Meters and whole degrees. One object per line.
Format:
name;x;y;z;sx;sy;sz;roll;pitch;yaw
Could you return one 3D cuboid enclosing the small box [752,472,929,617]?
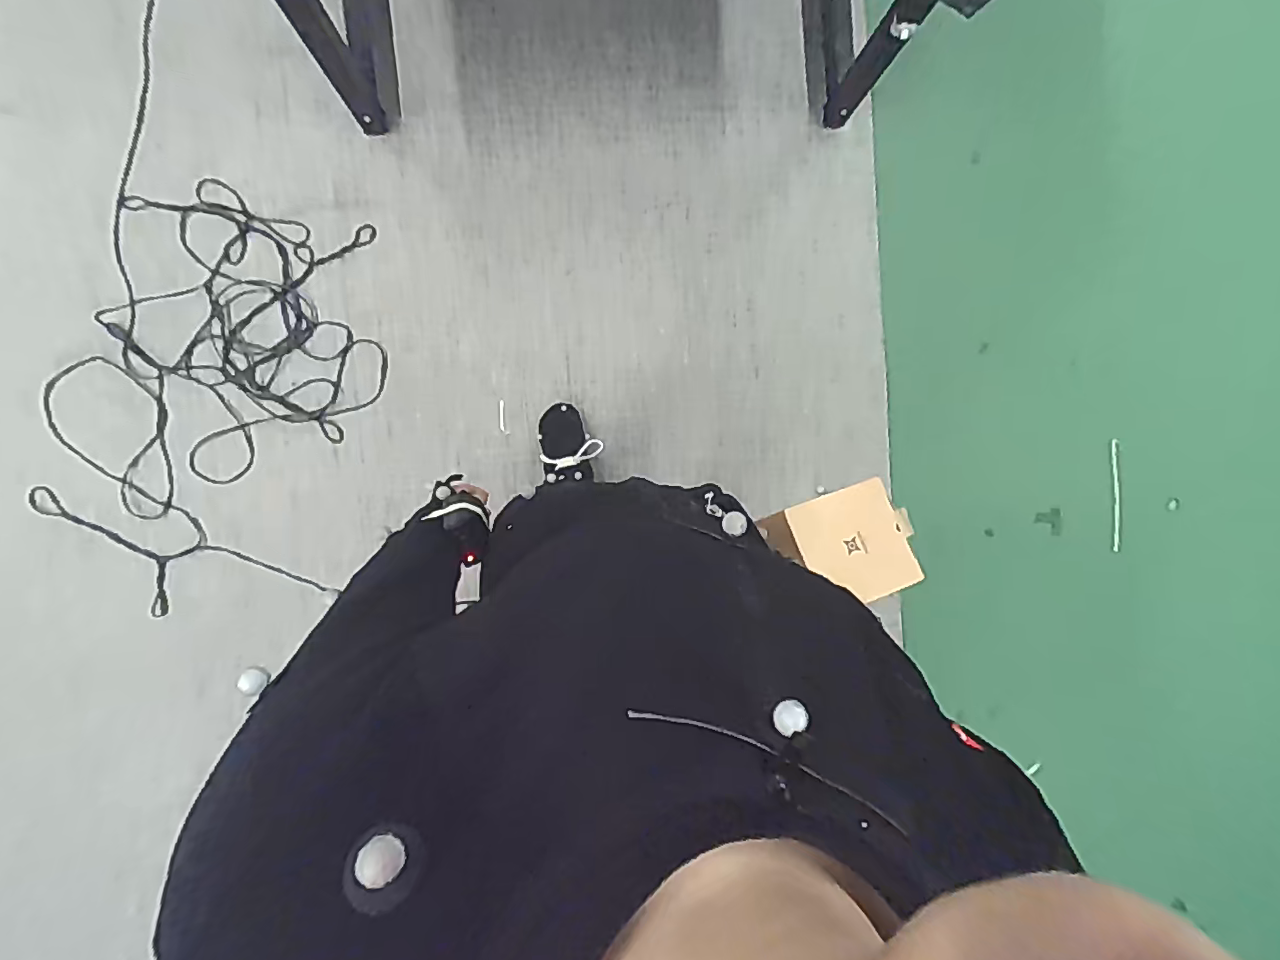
small box;0.294;0.107;0.842;0.179;0.176;0.168;-18;79;-16
